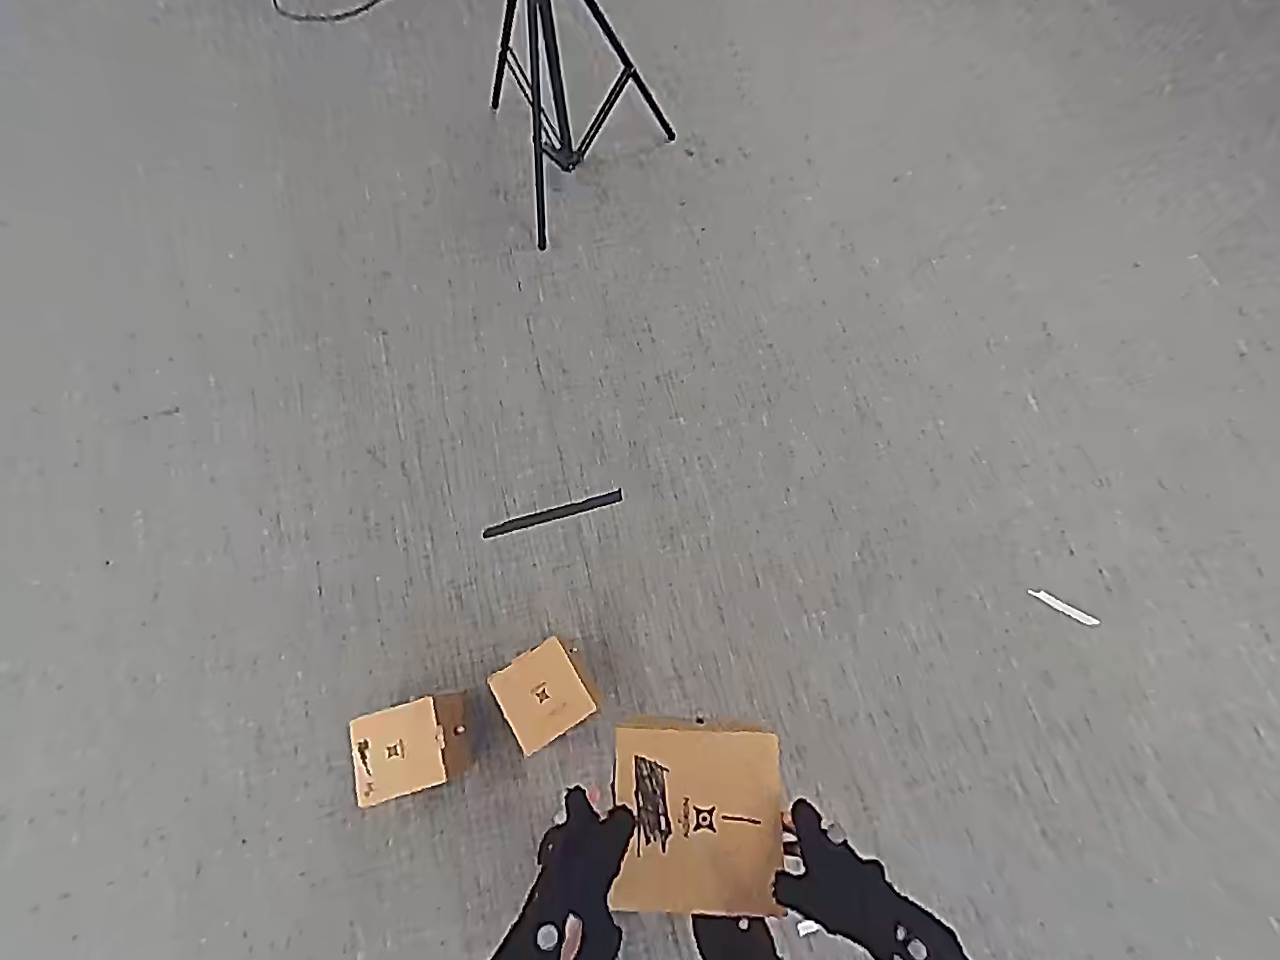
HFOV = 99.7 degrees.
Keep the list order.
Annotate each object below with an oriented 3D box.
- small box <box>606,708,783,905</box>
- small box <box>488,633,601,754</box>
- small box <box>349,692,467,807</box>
[{"bbox_3d":[0.059,0.361,0.629,0.179,0.176,0.168,0,70,3],"label":"small box"},{"bbox_3d":[-0.199,0.453,1.168,0.168,0.176,0.179,-32,75,-8],"label":"small box"},{"bbox_3d":[-0.477,0.555,1.139,0.179,0.176,0.168,-15,72,-4],"label":"small box"}]
